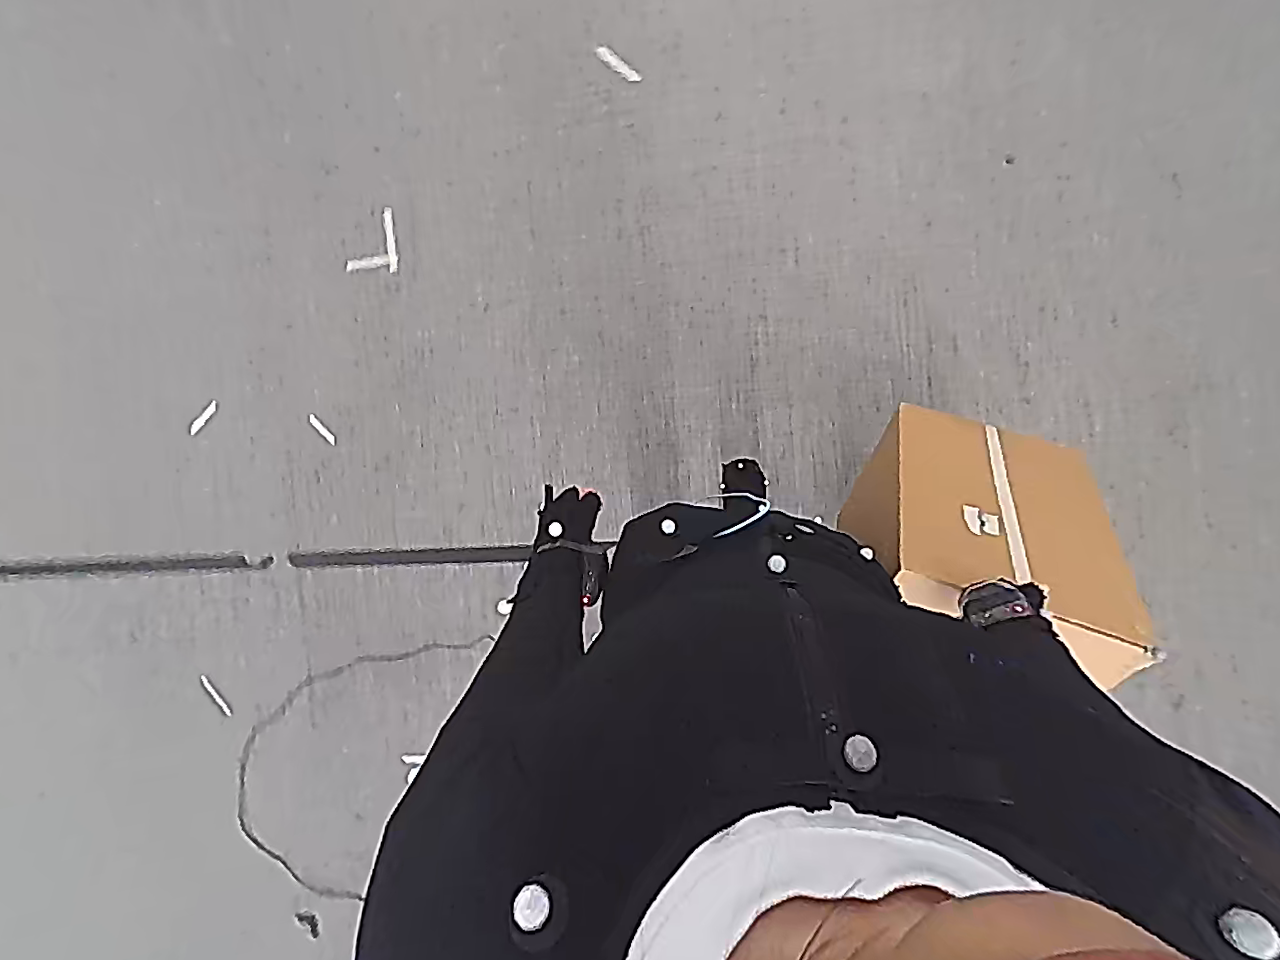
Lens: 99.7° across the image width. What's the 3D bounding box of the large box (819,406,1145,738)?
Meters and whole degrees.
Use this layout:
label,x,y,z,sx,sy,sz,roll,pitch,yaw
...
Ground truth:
label,x,y,z,sx,sy,sz,roll,pitch,yaw
large box,0.520,0.141,0.920,0.320,0.408,0.320,17,136,11
